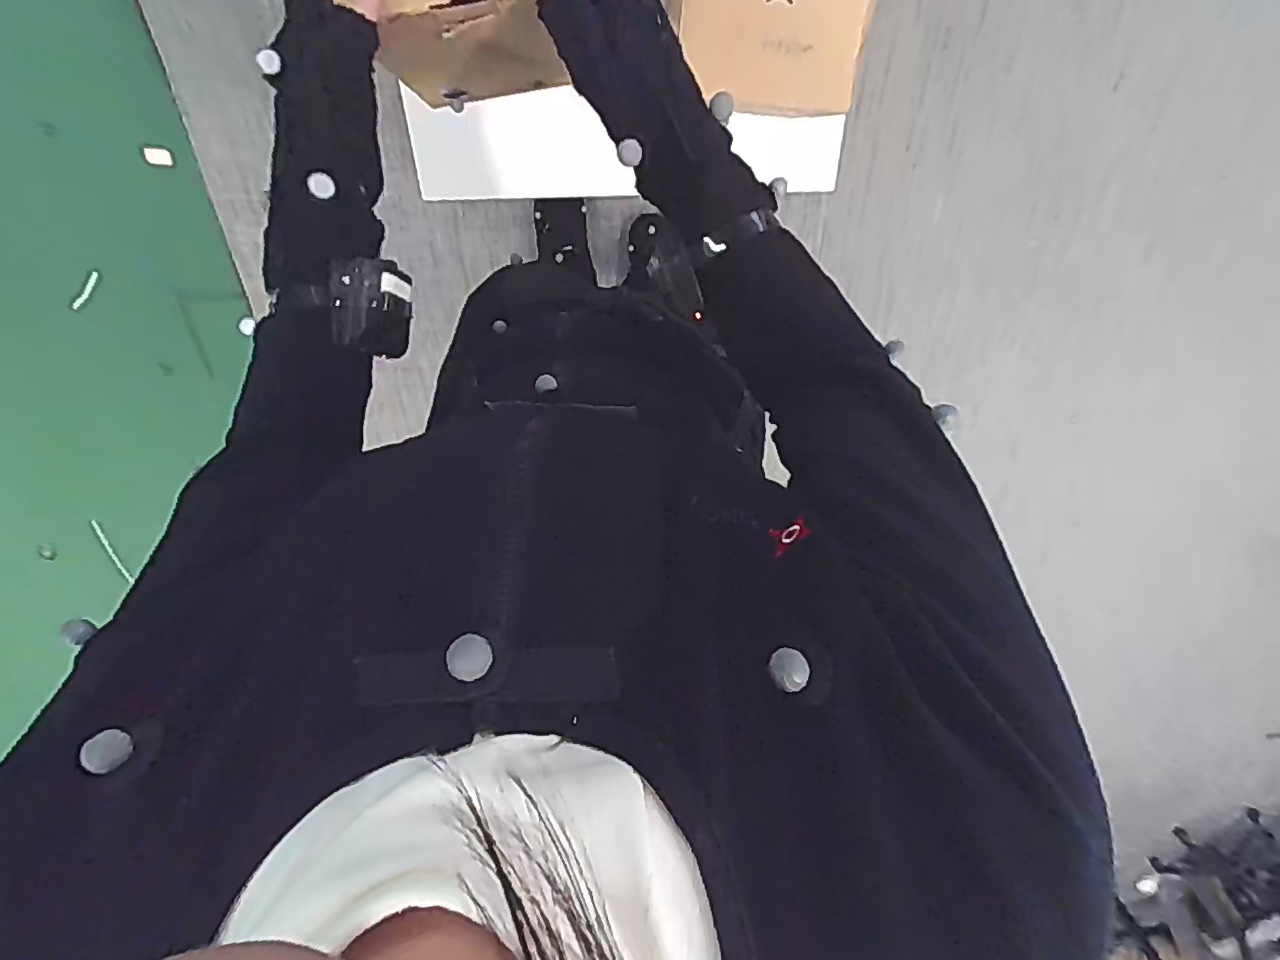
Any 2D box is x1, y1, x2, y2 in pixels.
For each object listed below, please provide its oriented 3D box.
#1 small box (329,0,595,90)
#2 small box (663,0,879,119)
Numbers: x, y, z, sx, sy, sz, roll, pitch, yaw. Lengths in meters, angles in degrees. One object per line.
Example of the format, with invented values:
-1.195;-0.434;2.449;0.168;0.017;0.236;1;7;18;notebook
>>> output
-0.131;-0.417;0.395;0.168;0.176;0.179;-8;108;3;small box
0.113;-0.451;0.506;0.168;0.176;0.179;2;123;-4;small box
